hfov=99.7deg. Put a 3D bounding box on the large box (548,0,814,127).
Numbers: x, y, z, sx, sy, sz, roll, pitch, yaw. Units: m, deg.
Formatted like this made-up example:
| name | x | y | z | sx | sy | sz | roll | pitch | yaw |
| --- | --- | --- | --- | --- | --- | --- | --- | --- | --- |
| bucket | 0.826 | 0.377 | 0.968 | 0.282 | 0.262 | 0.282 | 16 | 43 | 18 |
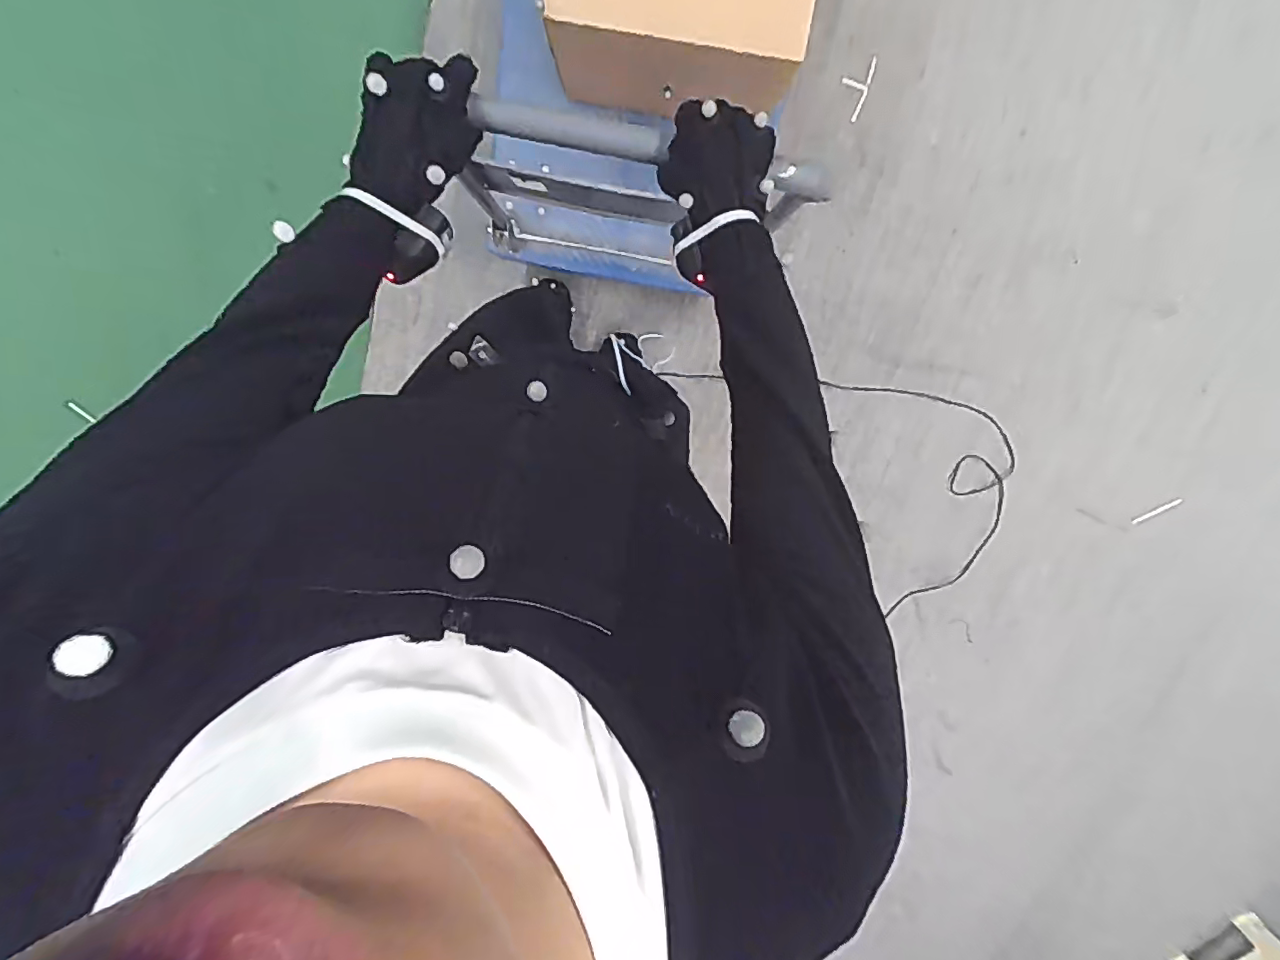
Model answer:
| name | x | y | z | sx | sy | sz | roll | pitch | yaw |
| --- | --- | --- | --- | --- | --- | --- | --- | --- | --- |
| large box | 0.079 | -0.856 | 0.934 | 0.408 | 0.320 | 0.320 | 9 | 105 | -1 |
